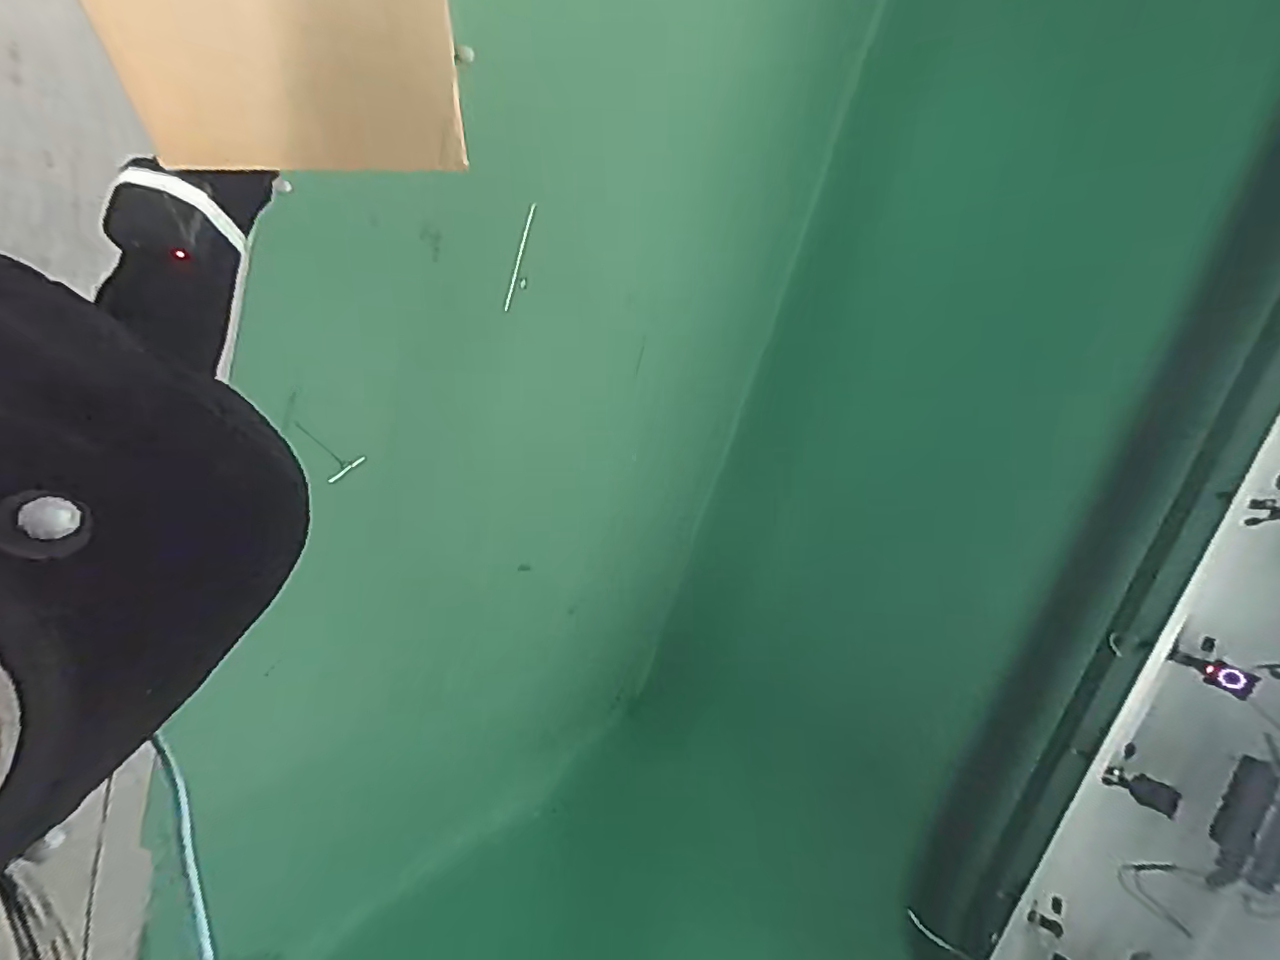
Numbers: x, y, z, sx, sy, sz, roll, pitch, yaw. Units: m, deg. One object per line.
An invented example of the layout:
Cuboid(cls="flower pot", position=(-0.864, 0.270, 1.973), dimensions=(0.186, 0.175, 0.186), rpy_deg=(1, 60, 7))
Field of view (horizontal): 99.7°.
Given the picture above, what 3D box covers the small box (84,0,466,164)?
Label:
Cuboid(cls="small box", position=(-0.201, -0.304, 0.312), dimensions=(0.168, 0.179, 0.176), rpy_deg=(-8, 138, -12))
